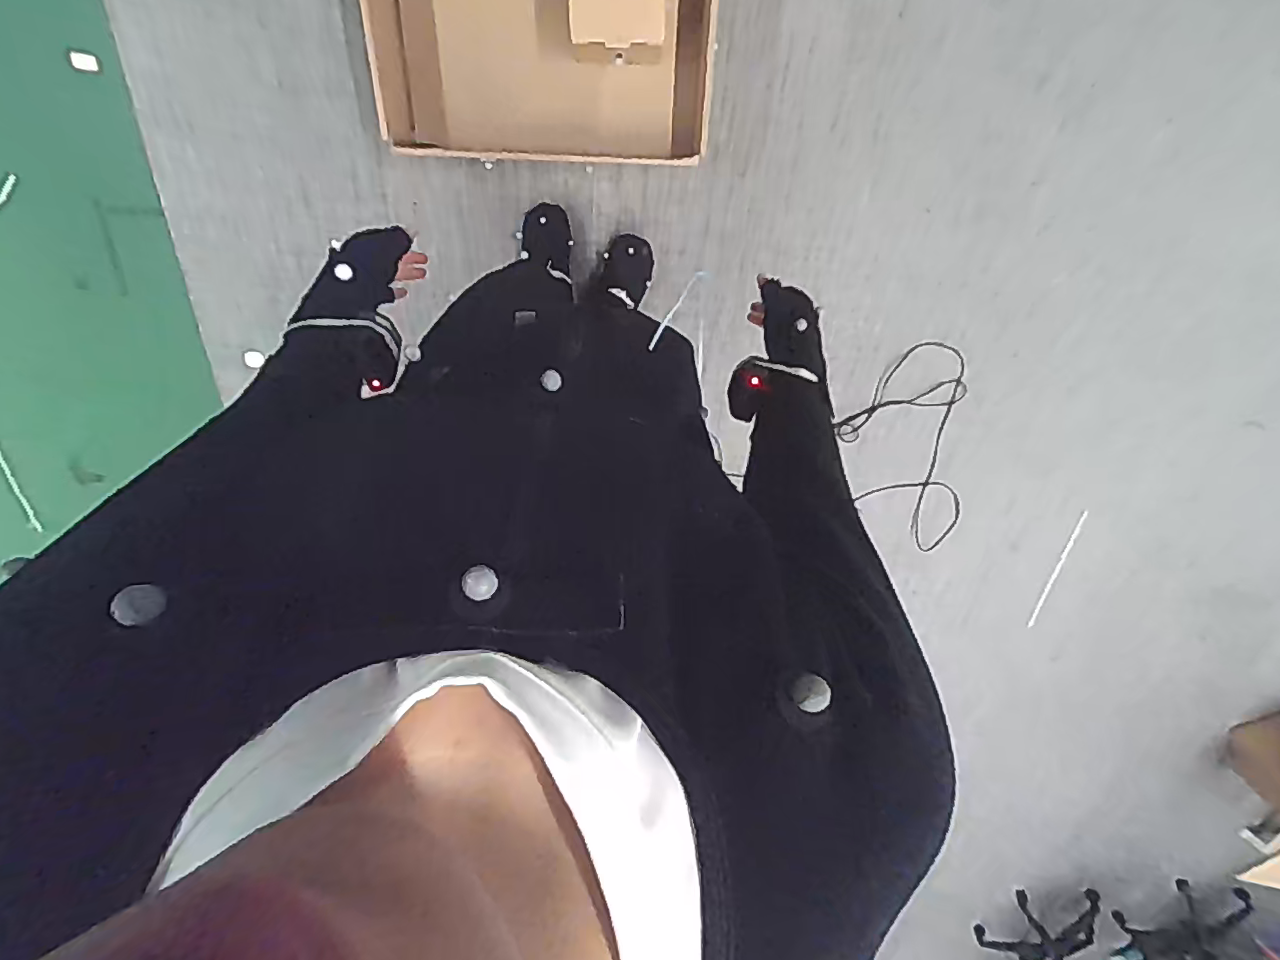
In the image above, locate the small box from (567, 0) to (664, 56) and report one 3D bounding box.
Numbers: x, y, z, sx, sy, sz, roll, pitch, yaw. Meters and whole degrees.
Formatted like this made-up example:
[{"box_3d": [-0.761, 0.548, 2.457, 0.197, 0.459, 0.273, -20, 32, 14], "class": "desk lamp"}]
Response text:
[{"box_3d": [-0.041, -0.878, 0.964, 0.168, 0.176, 0.179, -1, 118, 1], "class": "small box"}]
